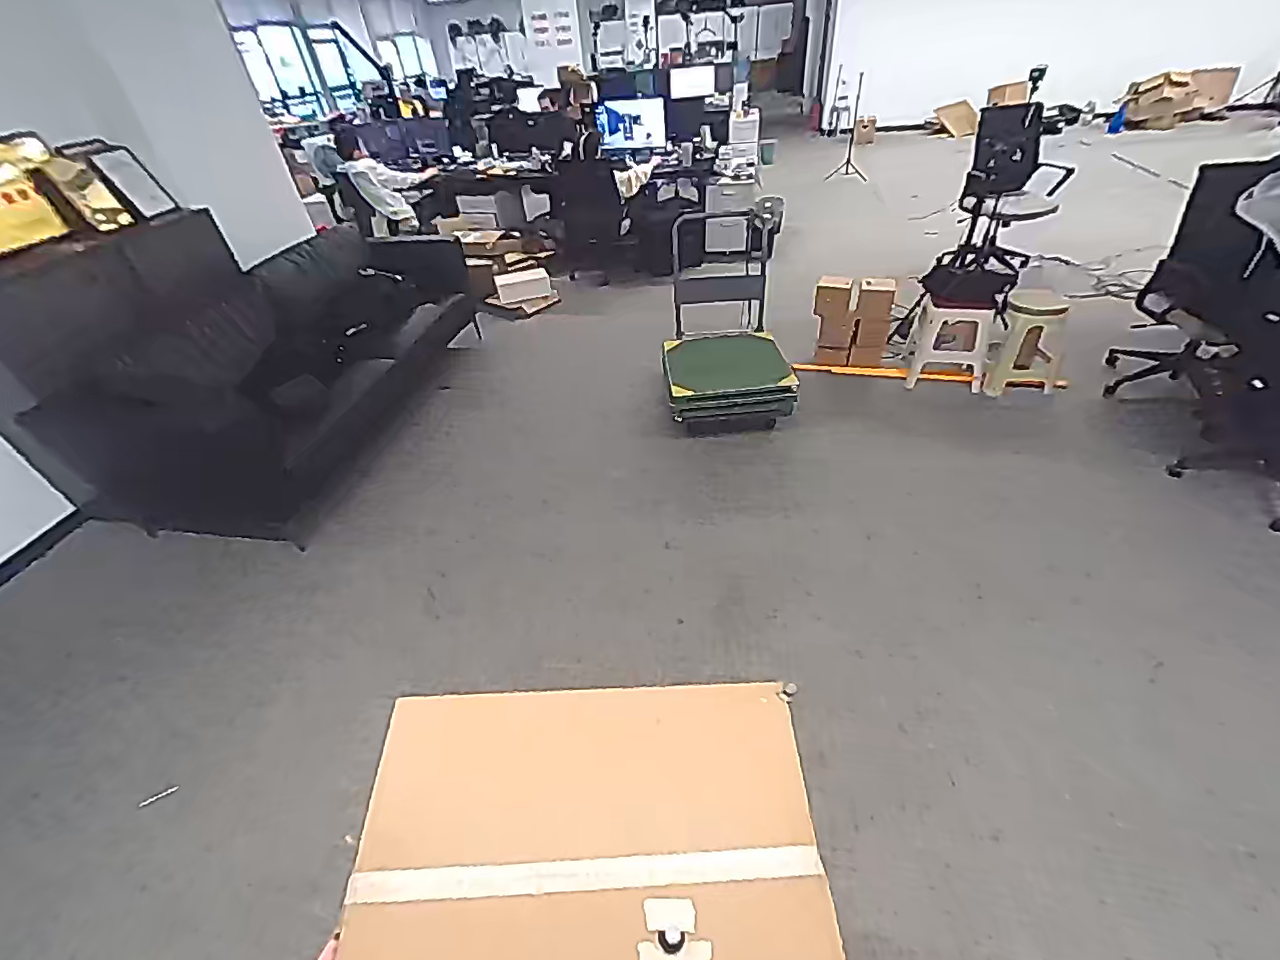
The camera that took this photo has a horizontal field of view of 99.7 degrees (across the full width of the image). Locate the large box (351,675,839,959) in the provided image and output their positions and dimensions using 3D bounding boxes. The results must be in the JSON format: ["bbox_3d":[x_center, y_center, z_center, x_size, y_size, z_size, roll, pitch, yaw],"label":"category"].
[{"bbox_3d":[-0.044,0.433,0.596,0.408,0.320,0.320,-1,51,-3],"label":"large box"}]
